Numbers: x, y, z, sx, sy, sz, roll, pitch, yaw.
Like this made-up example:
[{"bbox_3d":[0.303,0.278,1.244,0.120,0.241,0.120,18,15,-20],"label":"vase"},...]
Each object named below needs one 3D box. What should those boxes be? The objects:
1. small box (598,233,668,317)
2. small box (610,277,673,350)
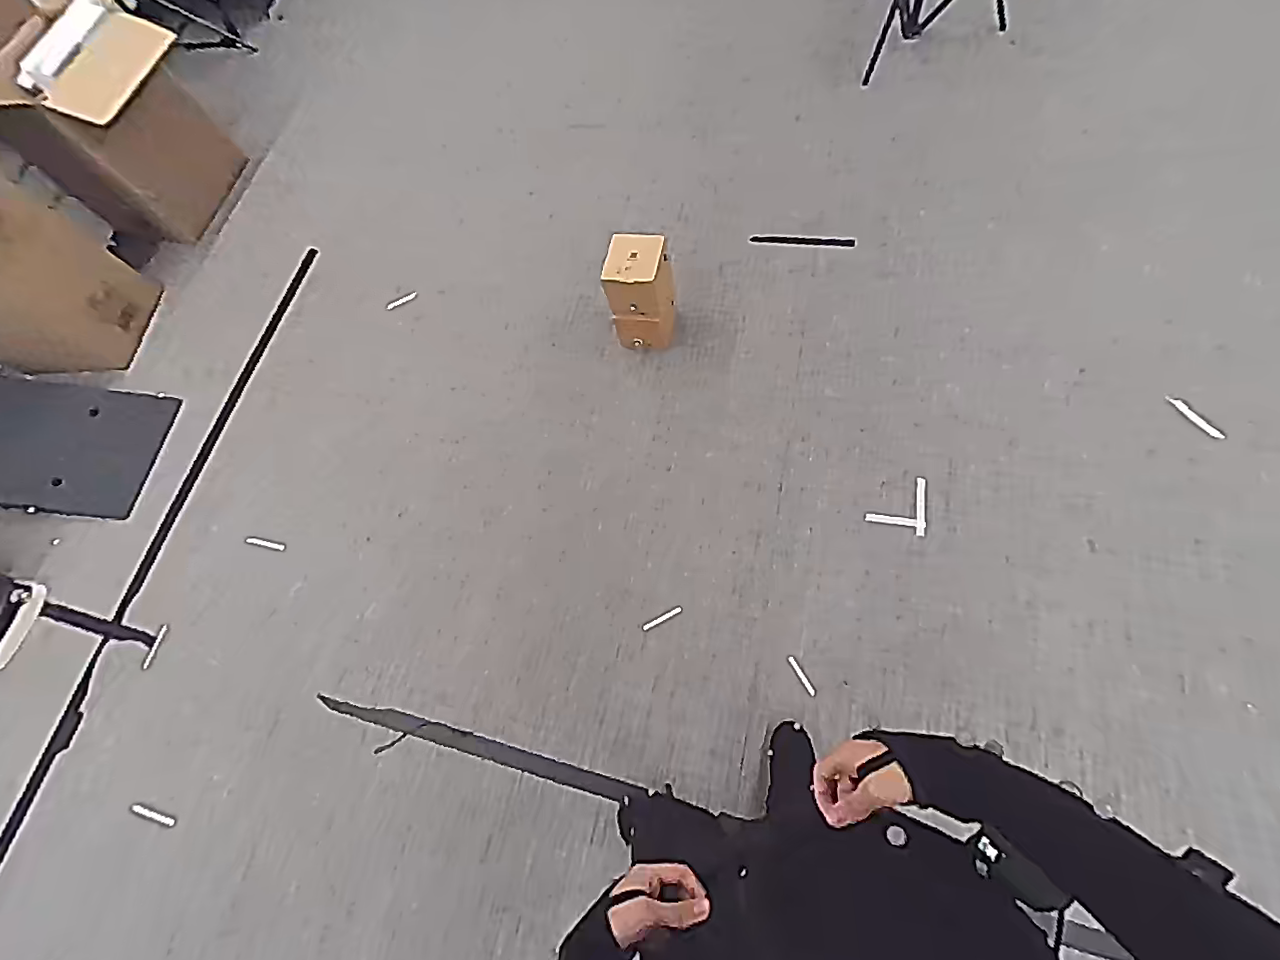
[{"bbox_3d":[-0.013,-0.632,1.672,0.168,0.176,0.179,8,71,14],"label":"small box"},{"bbox_3d":[0.012,-0.564,1.820,0.168,0.176,0.179,9,70,14],"label":"small box"}]
